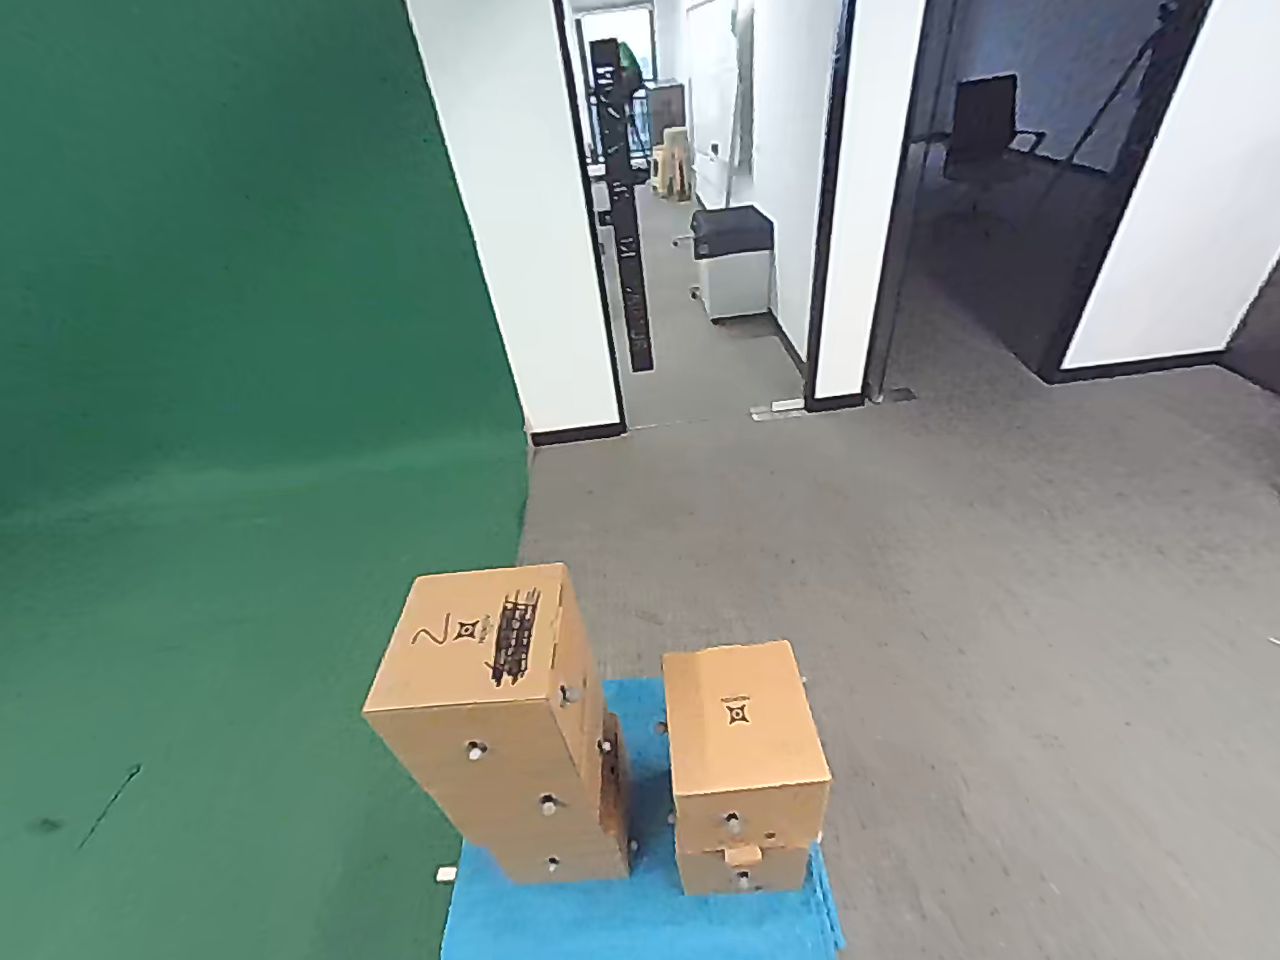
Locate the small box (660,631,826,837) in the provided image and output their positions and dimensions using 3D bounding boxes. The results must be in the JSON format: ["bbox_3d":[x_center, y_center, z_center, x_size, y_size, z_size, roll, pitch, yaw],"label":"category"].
[{"bbox_3d":[0.119,0.316,0.669,0.168,0.176,0.179,-7,37,2],"label":"small box"}]

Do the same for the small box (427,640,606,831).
[{"bbox_3d":[-0.140,0.328,0.694,0.179,0.176,0.168,-5,38,3],"label":"small box"}]

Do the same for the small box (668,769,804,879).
[{"bbox_3d":[0.128,0.444,0.769,0.168,0.176,0.179,-5,39,3],"label":"small box"}]

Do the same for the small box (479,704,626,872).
[{"bbox_3d":[-0.114,0.454,0.797,0.179,0.176,0.168,-5,38,3],"label":"small box"}]
